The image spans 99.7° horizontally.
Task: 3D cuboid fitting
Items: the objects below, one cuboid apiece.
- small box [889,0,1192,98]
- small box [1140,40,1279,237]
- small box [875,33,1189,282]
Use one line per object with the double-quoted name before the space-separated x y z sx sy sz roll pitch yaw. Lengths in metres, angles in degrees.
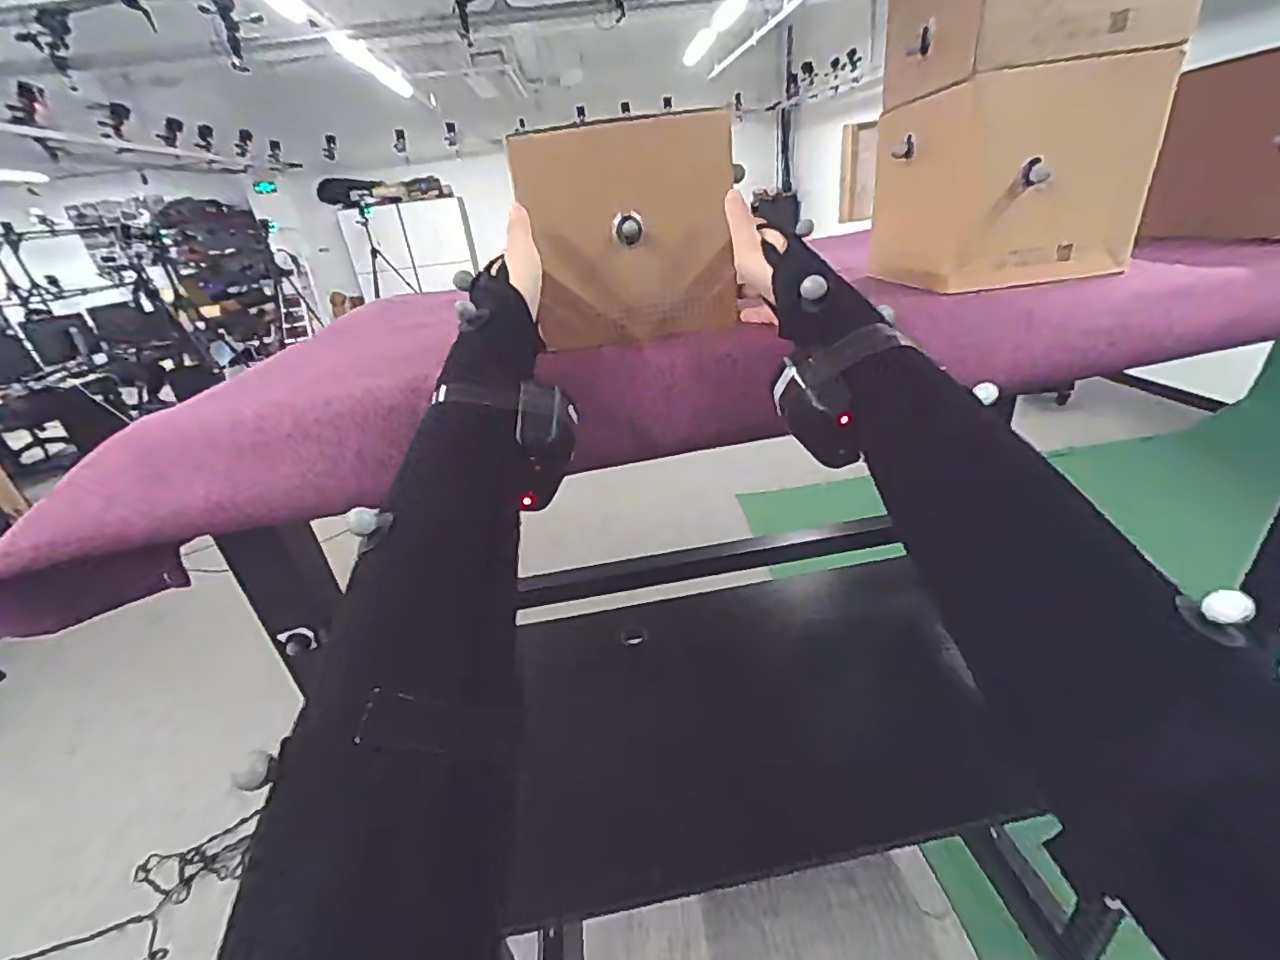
"small box" 0.329 -0.438 0.450 0.168 0.176 0.179 -6 27 2
"small box" 0.681 -0.351 0.552 0.168 0.176 0.179 -10 26 -5
"small box" 0.345 -0.291 0.522 0.168 0.176 0.179 -6 26 1
